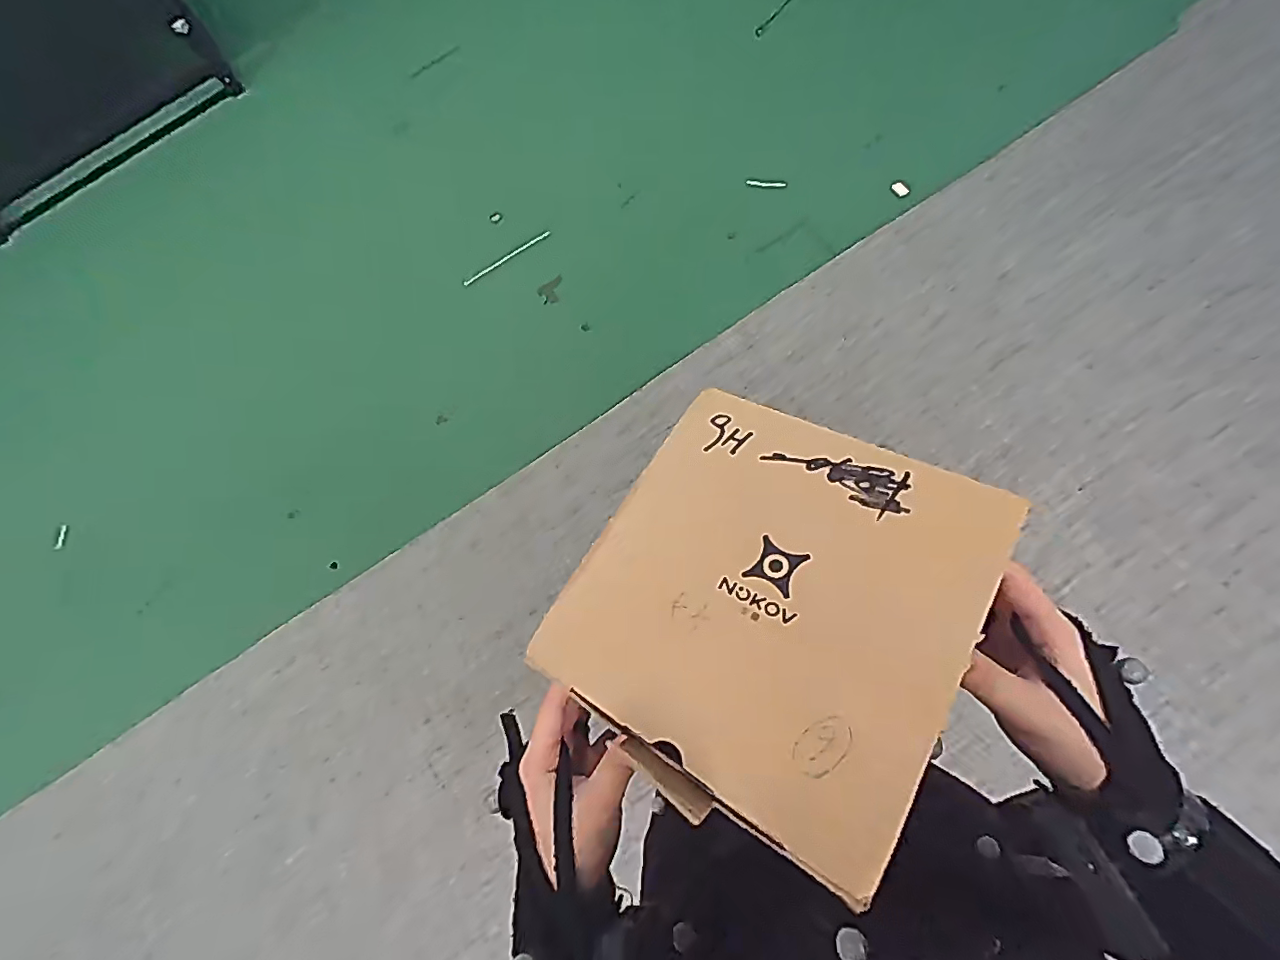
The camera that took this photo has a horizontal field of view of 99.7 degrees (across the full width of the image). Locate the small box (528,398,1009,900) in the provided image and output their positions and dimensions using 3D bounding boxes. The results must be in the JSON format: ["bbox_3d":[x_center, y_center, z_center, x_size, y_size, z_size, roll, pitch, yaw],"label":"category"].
[{"bbox_3d":[0.074,0.089,0.318,0.168,0.176,0.179,26,71,26],"label":"small box"}]
